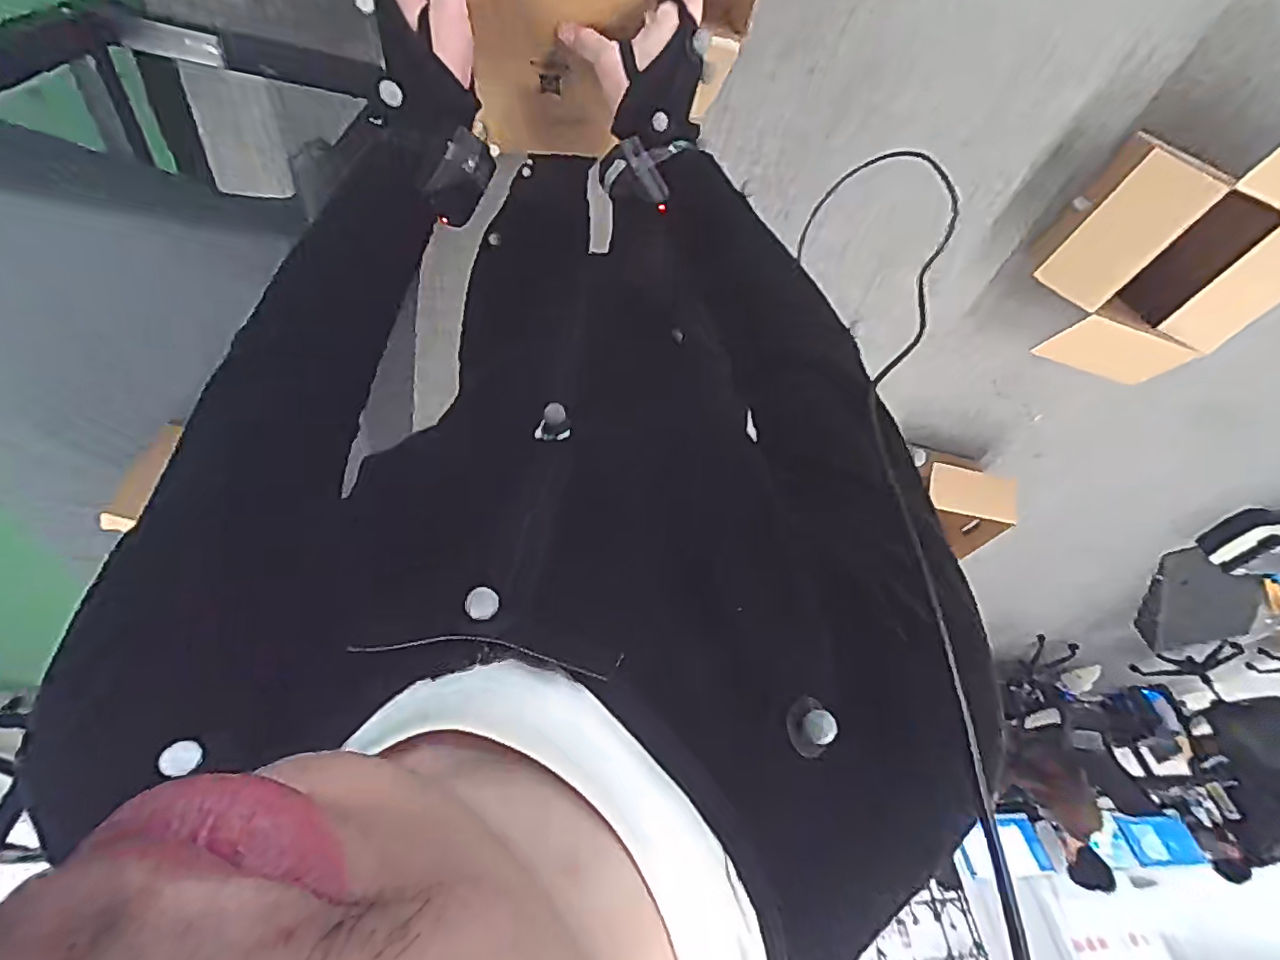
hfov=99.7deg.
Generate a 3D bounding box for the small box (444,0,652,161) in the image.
[{"bbox_3d":[-0.085,-0.440,0.505,0.168,0.176,0.179,0,168,-8],"label":"small box"}]
